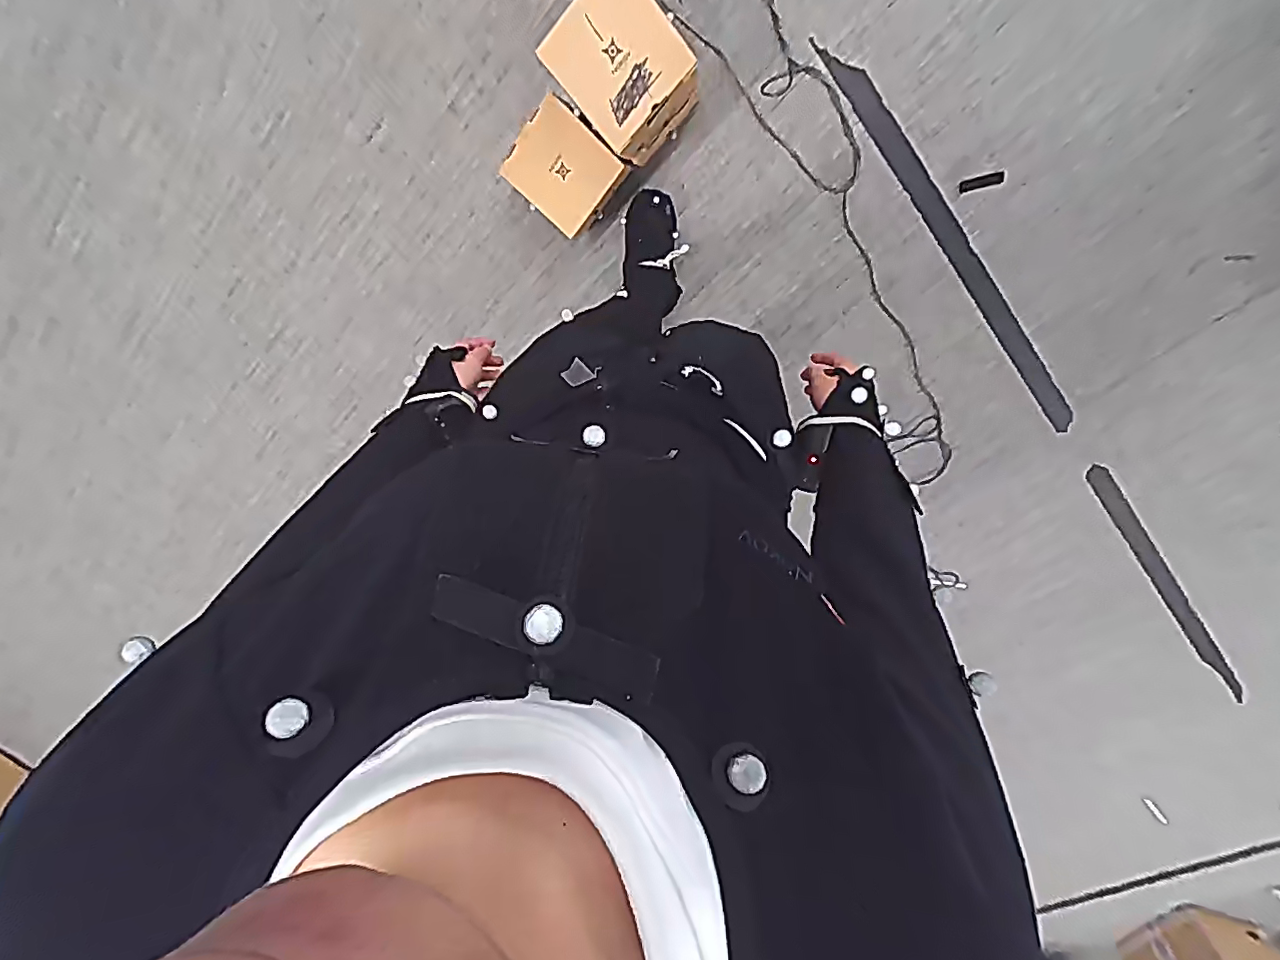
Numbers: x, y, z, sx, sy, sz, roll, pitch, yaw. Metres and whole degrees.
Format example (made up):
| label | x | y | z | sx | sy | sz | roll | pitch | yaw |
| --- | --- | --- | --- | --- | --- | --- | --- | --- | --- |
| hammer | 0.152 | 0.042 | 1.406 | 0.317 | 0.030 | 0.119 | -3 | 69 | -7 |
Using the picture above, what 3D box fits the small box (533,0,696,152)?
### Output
| label | x | y | z | sx | sy | sz | roll | pitch | yaw |
| --- | --- | --- | --- | --- | --- | --- | --- | --- | --- |
| small box | -0.028 | -0.637 | 0.828 | 0.168 | 0.176 | 0.179 | -38 | 108 | 22 |
